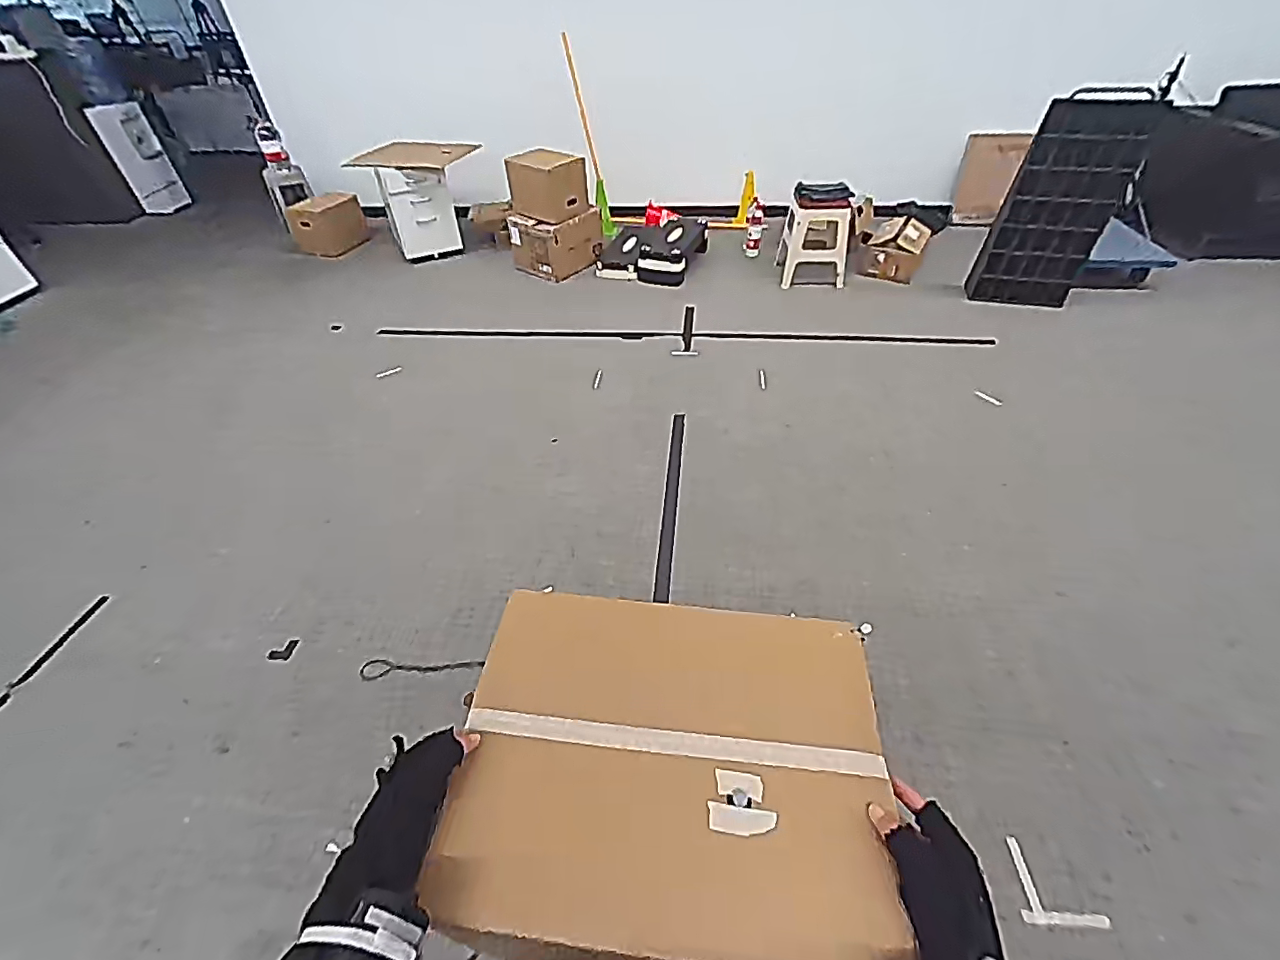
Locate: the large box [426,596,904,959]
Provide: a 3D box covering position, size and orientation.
[{"bbox_3d":[0.028,0.369,0.649,0.408,0.320,0.320,5,45,5],"label":"large box"}]
